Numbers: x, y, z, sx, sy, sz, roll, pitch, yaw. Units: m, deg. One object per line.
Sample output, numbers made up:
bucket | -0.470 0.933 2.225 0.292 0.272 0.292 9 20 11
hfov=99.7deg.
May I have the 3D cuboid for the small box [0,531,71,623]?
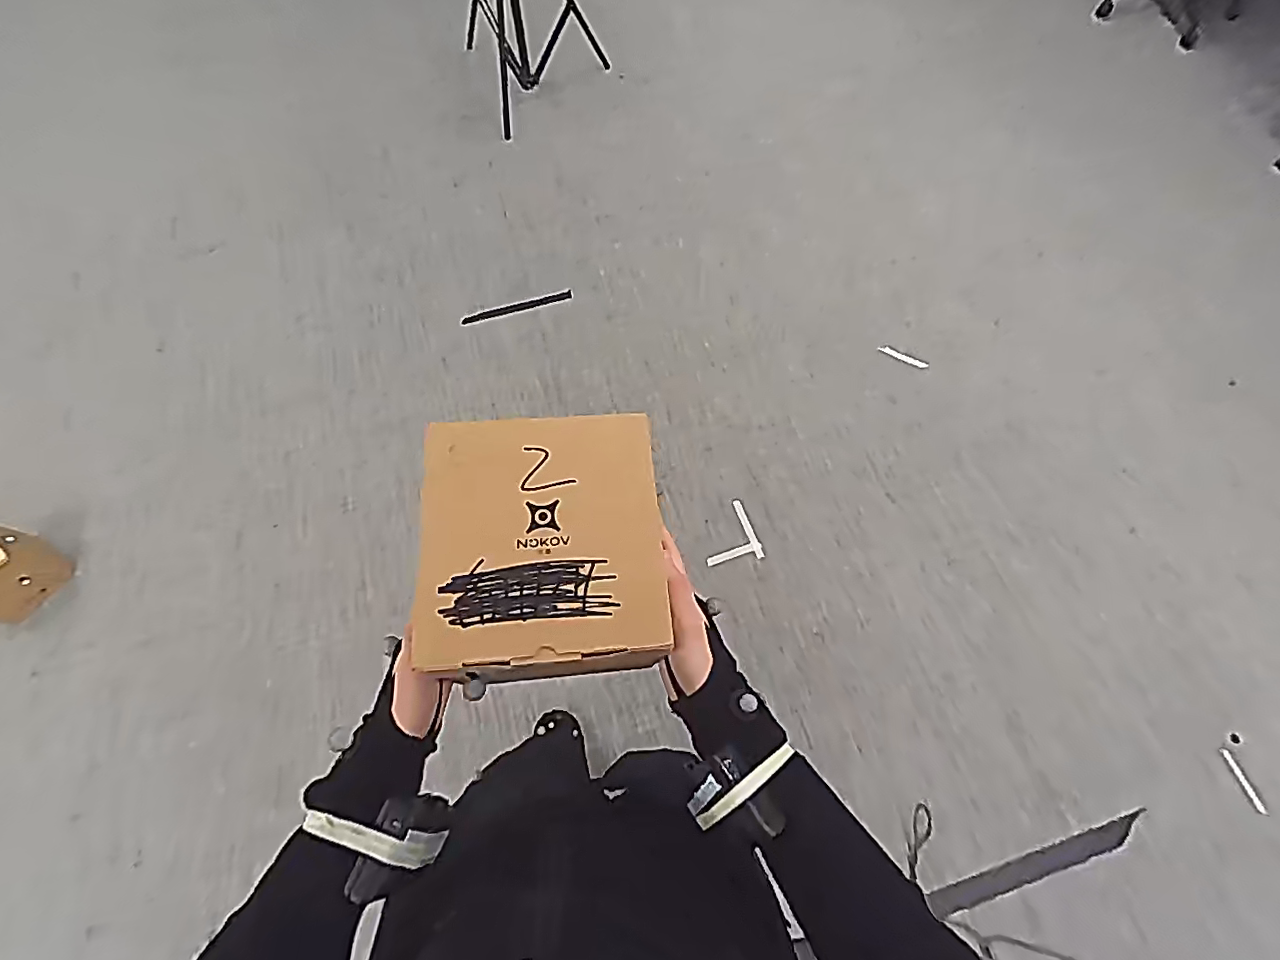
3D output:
small box | -1.590 0.234 1.332 0.179 0.176 0.168 32 69 13
